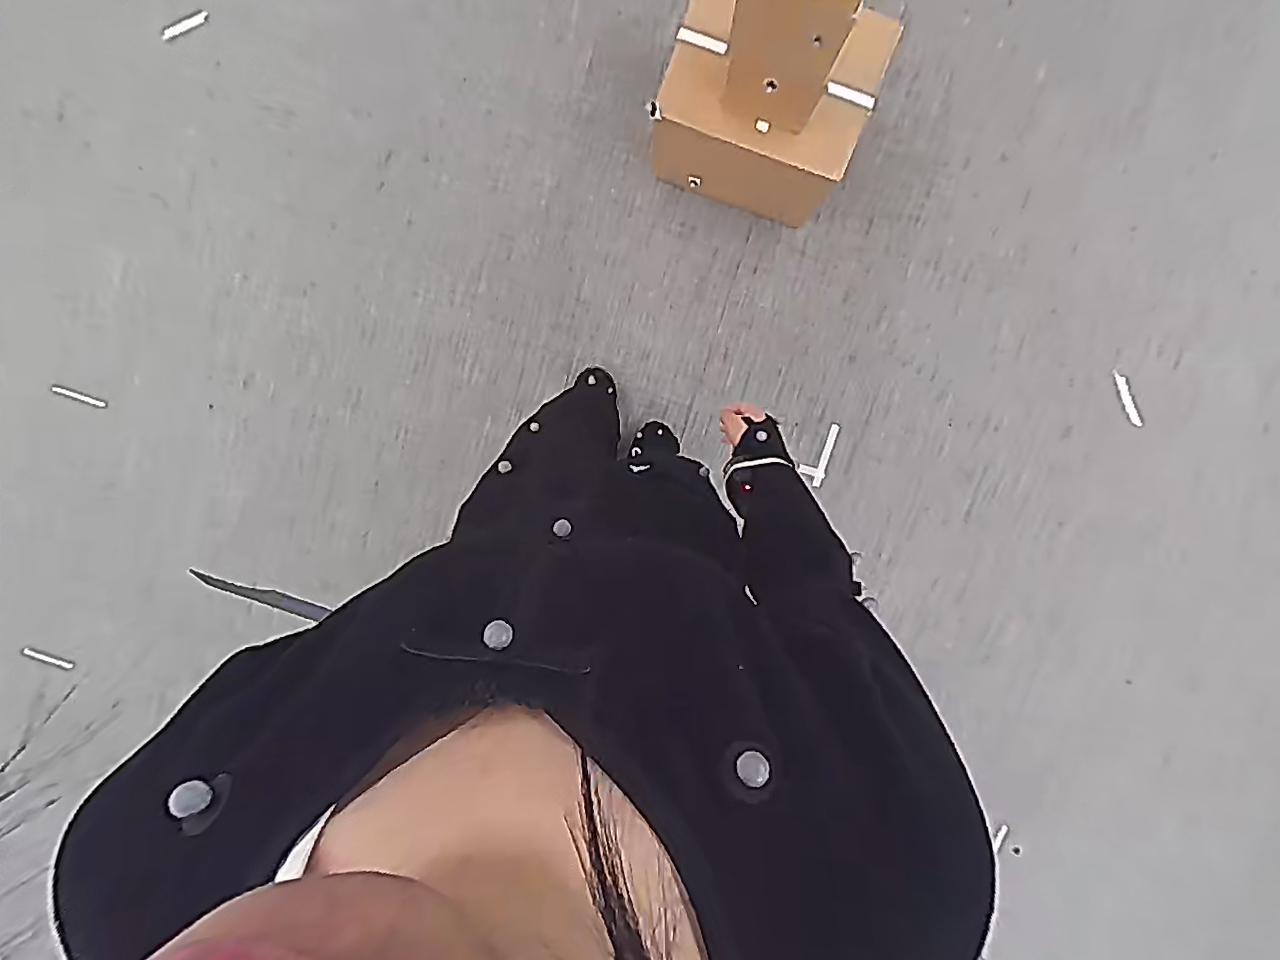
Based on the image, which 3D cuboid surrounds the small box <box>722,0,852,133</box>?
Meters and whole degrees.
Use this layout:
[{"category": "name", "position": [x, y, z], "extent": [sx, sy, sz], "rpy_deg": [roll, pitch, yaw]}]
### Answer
[{"category": "small box", "position": [0.260, -0.775, 0.987], "extent": [0.179, 0.176, 0.168], "rpy_deg": [17, 99, -2]}]
